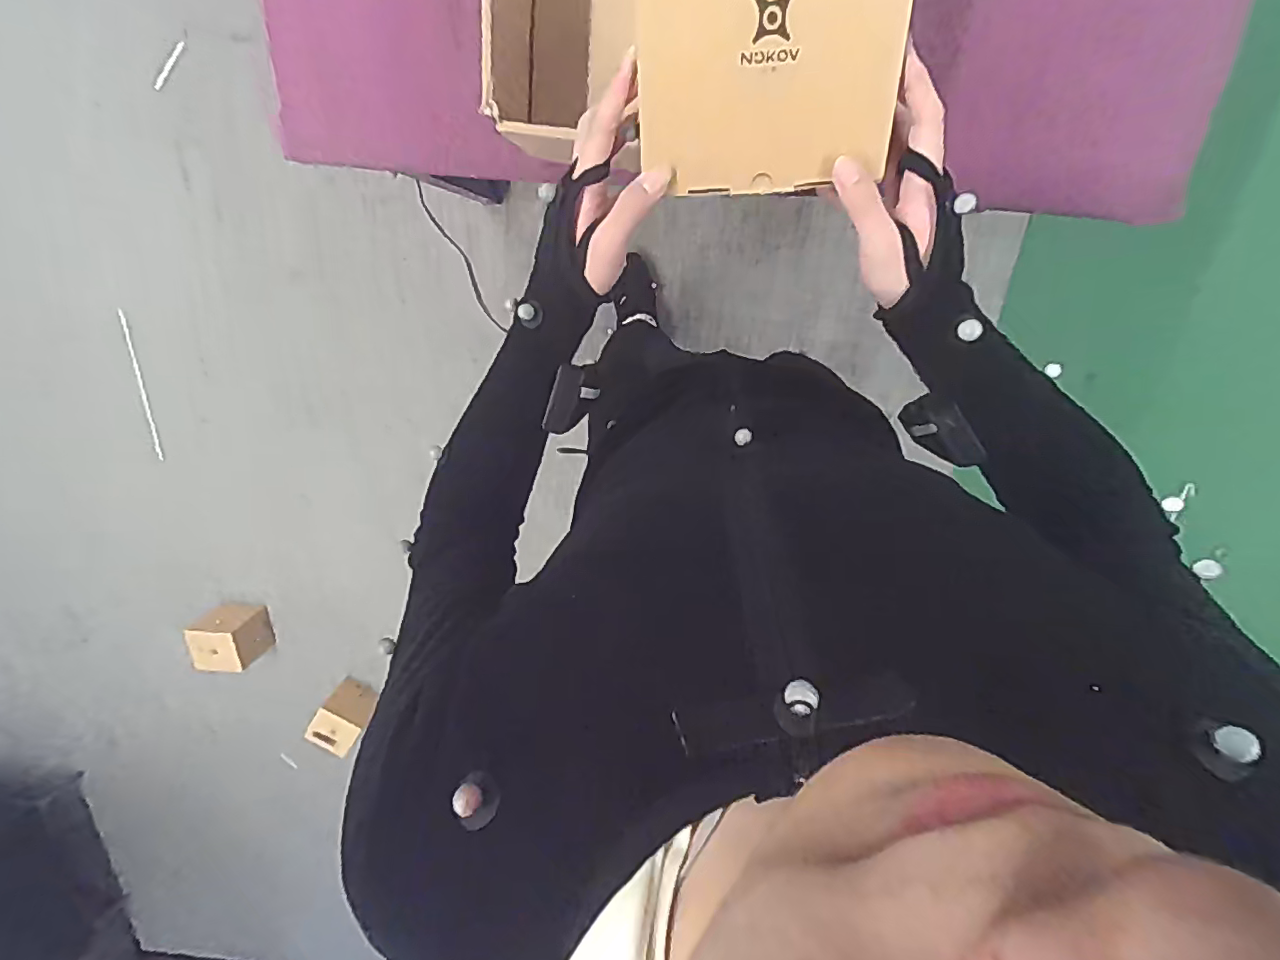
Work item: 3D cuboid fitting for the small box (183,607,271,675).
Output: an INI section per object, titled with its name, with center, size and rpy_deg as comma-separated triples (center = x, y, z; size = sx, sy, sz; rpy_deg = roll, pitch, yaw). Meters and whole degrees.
[small box]
center = -1.451, 0.567, 1.918
size = 0.179, 0.176, 0.168
rpy_deg = 2, 110, 4
